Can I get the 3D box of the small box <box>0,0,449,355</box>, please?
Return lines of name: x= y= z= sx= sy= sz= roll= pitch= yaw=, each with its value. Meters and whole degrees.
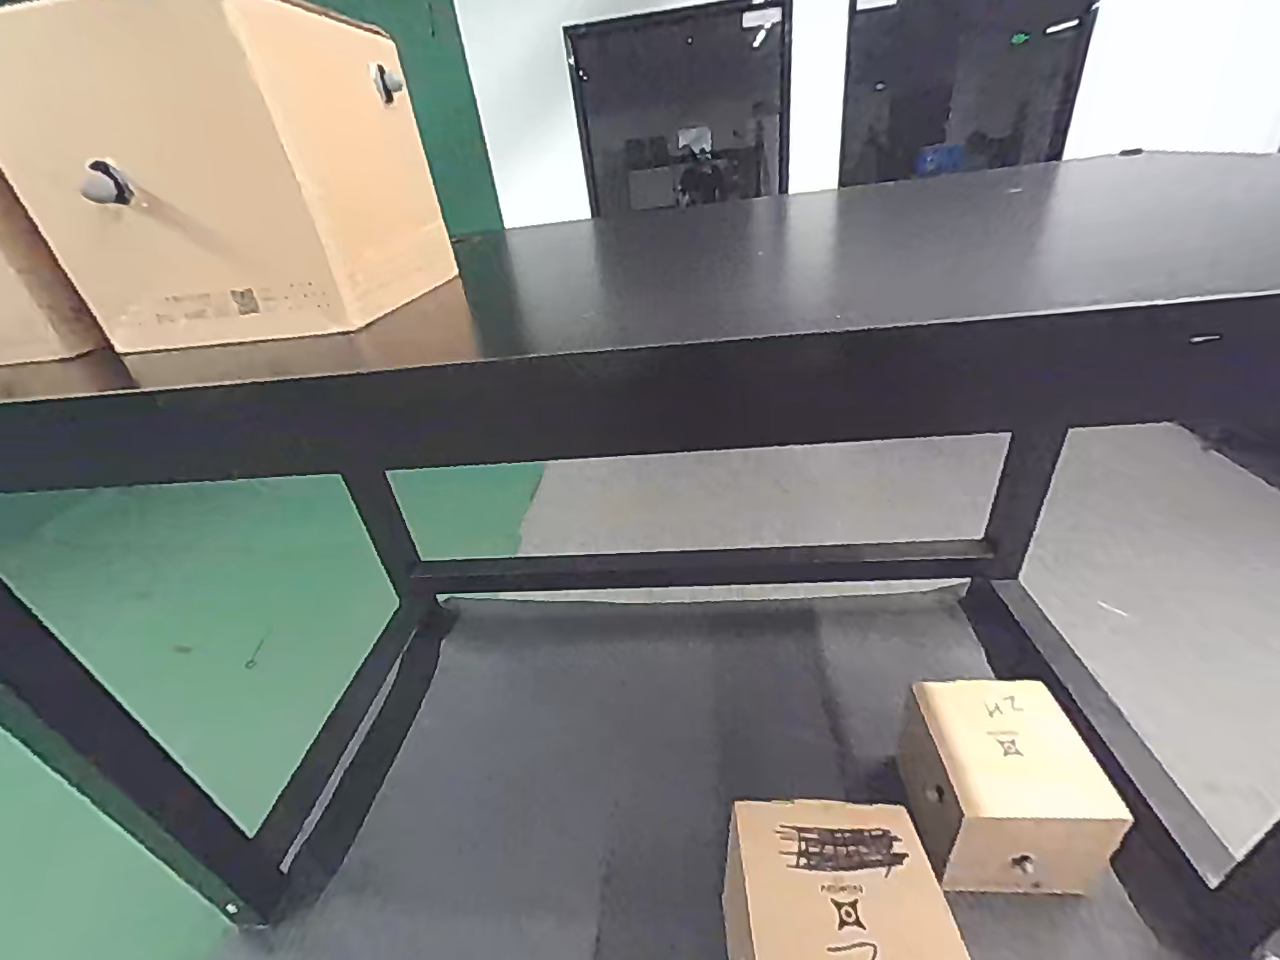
small box: x=-0.255 y=-0.189 z=0.371 sx=0.168 sy=0.176 sz=0.179 roll=-4 pitch=31 yaw=7

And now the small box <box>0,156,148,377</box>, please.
small box: x=-0.449 y=-0.180 z=0.394 sx=0.168 sy=0.176 sz=0.179 roll=-4 pitch=32 yaw=7

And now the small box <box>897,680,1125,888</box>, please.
small box: x=0.443 y=0.380 z=0.682 sx=0.168 sy=0.176 sz=0.179 roll=-4 pitch=30 yaw=7
